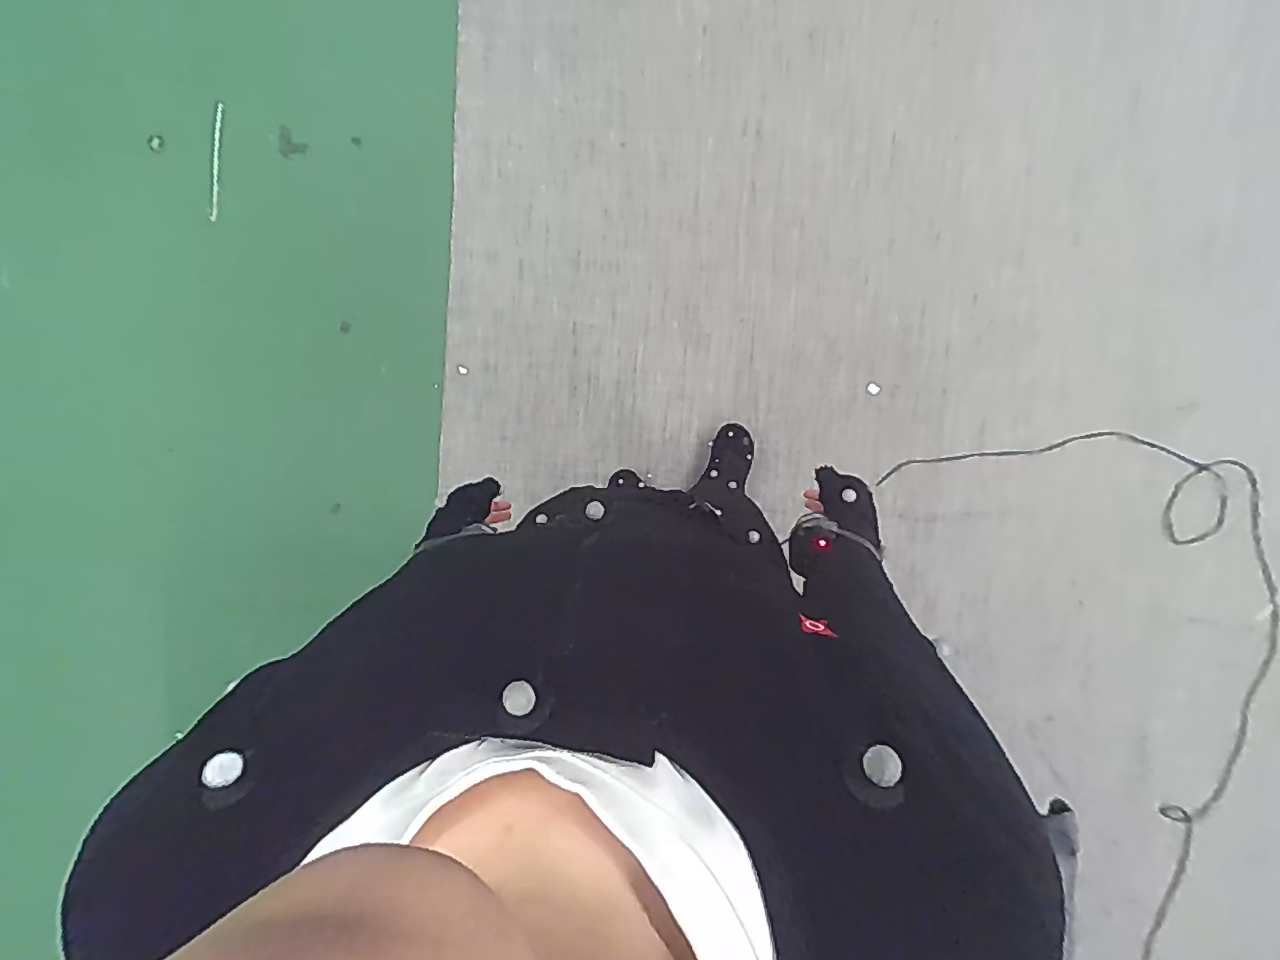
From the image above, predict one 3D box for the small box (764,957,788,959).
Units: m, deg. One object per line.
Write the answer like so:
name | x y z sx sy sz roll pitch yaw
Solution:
small box | 0.235 0.758 0.672 0.168 0.176 0.179 2 91 1
